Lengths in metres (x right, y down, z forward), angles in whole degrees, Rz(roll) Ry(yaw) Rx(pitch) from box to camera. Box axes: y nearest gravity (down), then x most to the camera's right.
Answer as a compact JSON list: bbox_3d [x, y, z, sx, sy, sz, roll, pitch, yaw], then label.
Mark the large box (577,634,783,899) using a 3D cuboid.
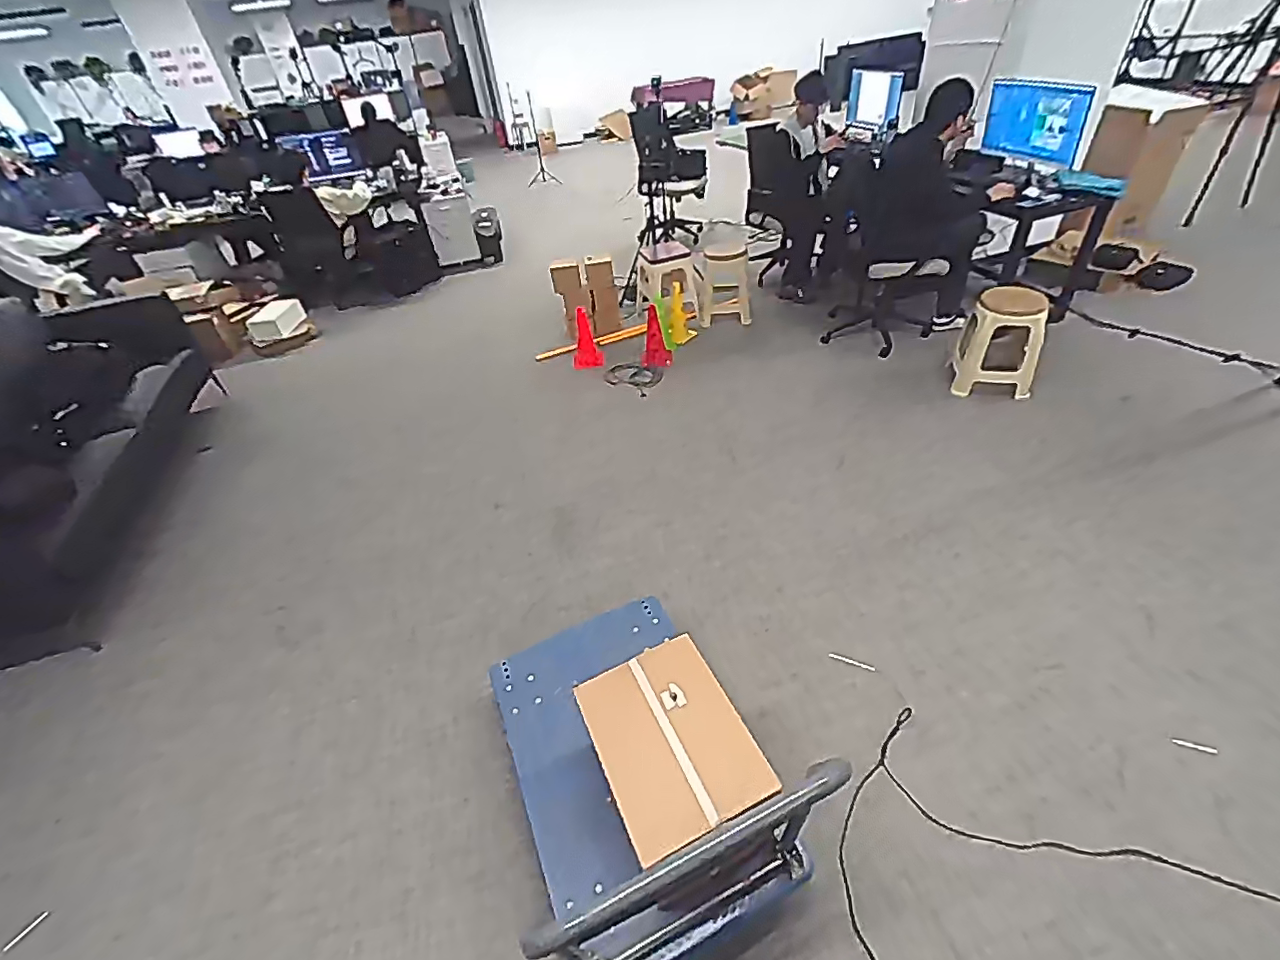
[{"bbox_3d":[0.089,0.662,1.281,0.320,0.320,0.408,-21,42,-15],"label":"large box"}]
